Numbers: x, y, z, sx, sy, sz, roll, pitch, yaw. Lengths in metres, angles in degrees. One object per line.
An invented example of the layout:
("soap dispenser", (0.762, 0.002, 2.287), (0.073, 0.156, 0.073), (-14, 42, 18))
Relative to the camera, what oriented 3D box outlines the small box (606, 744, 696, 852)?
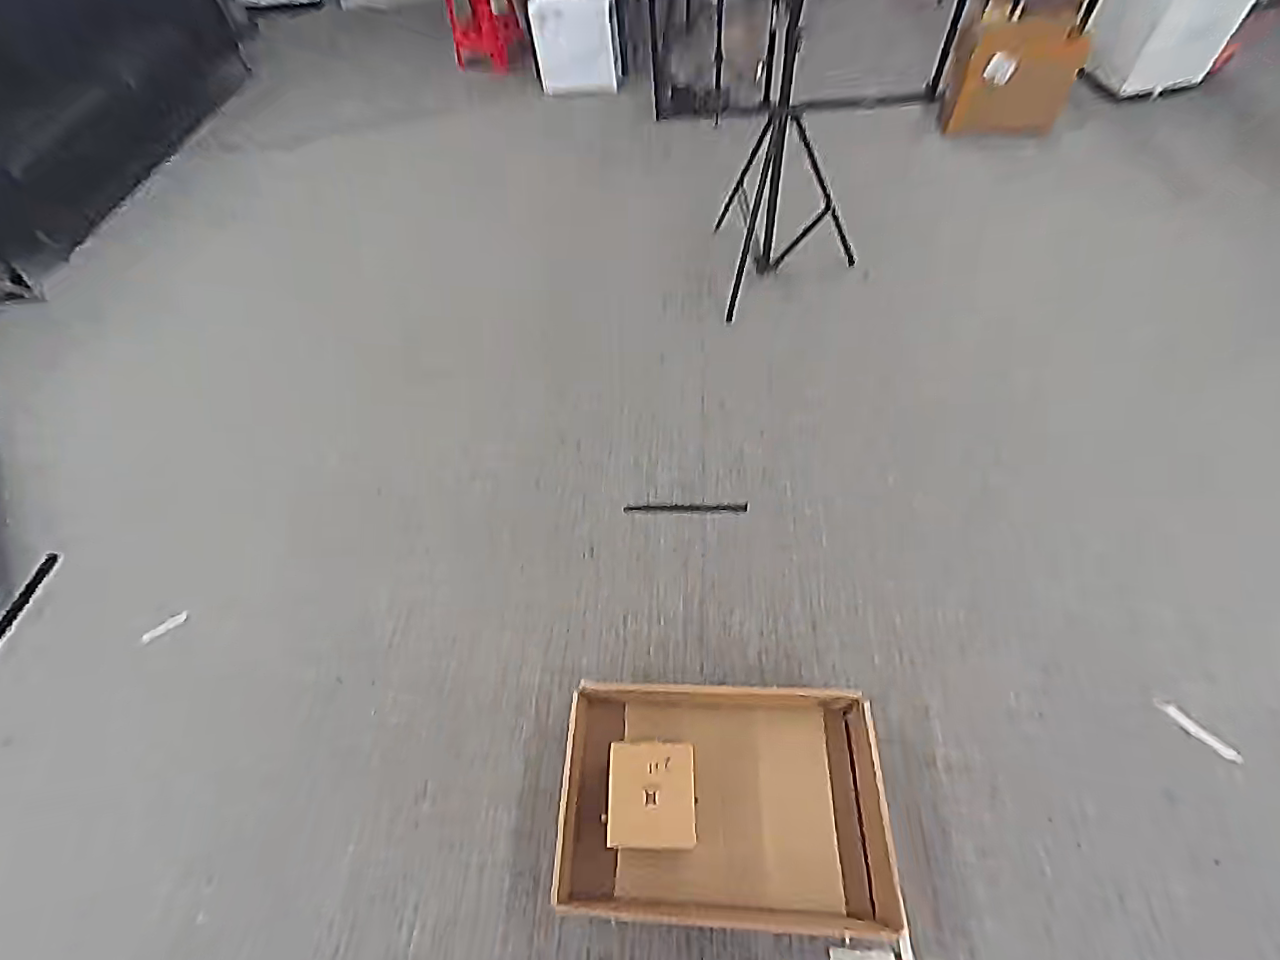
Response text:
("small box", (0.028, 0.642, 1.093), (0.168, 0.176, 0.179), (-1, 56, 4))
